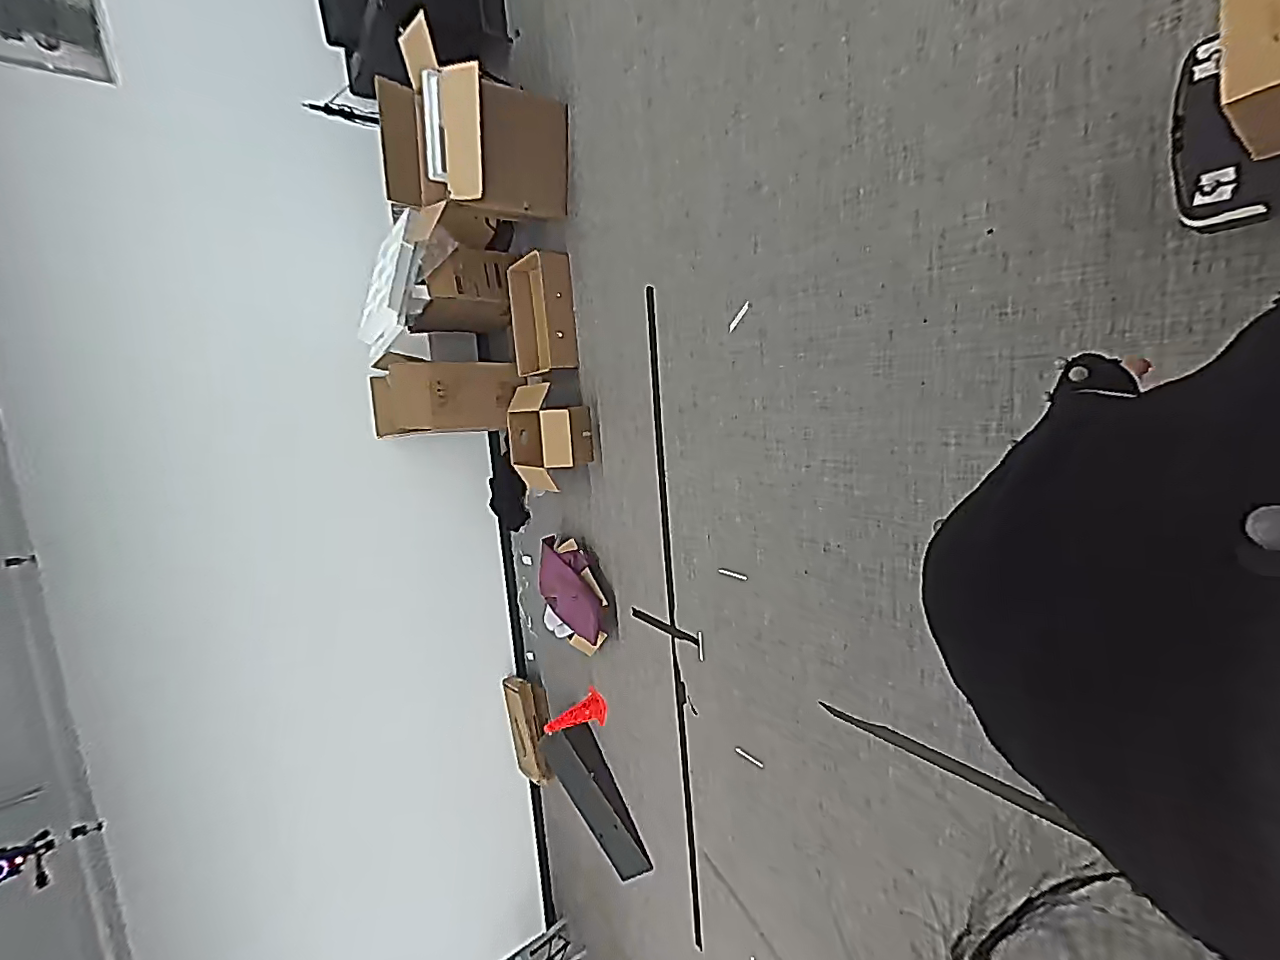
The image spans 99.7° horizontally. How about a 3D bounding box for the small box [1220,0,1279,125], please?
[{"bbox_3d":[0.816,-0.556,0.630,0.179,0.176,0.168,0,98,54],"label":"small box"}]
